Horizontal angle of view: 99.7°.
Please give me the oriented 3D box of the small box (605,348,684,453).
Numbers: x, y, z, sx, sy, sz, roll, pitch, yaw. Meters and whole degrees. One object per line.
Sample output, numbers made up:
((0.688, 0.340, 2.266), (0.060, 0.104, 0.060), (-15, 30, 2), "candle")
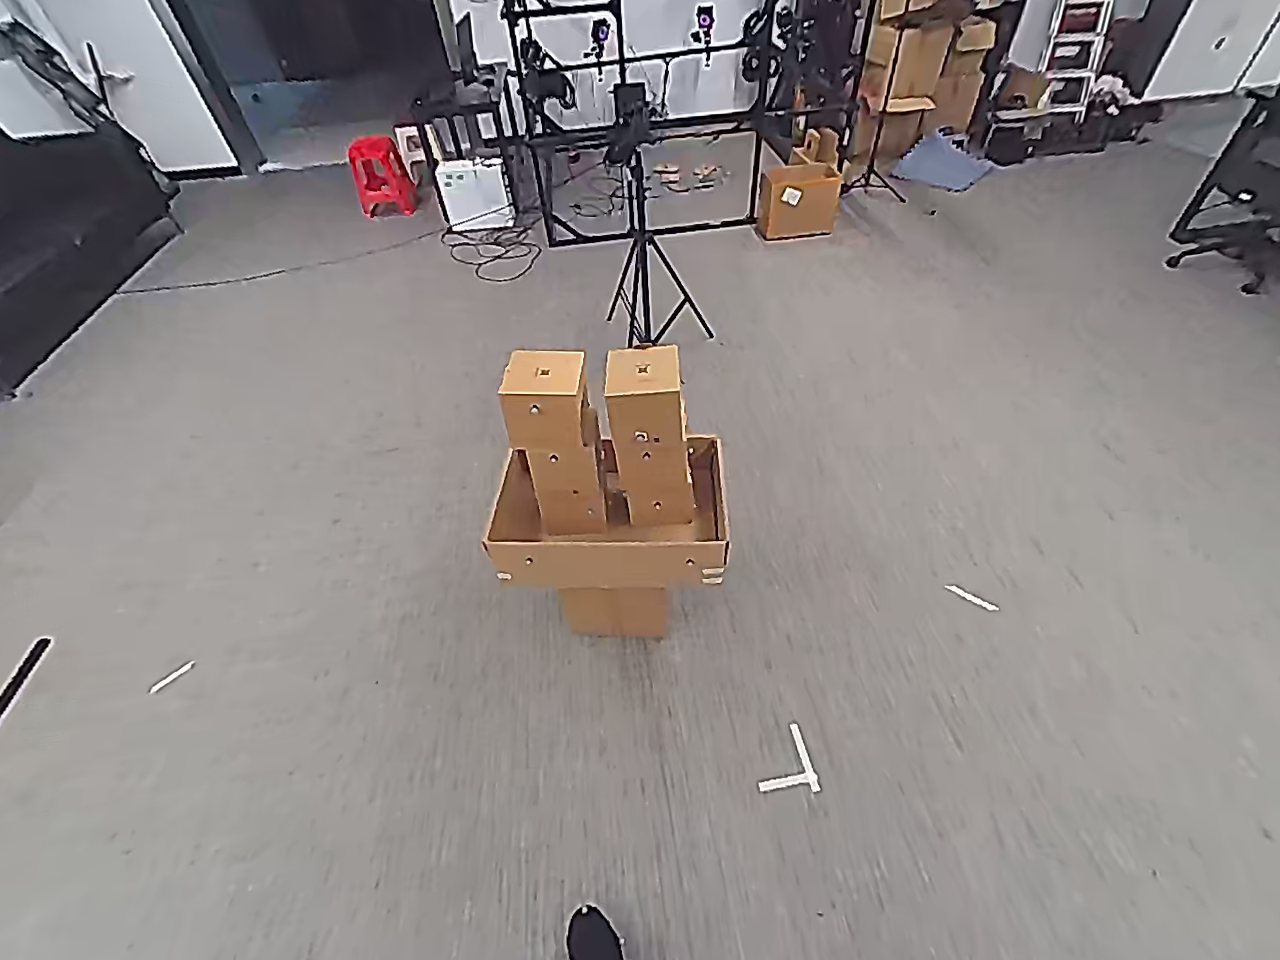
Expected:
((0.014, -0.184, 1.260), (0.168, 0.176, 0.179), (-4, 46, 5), "small box")

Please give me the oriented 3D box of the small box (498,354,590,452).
((-0.215, -0.178, 1.275), (0.179, 0.176, 0.168), (0, 46, 3), "small box")
